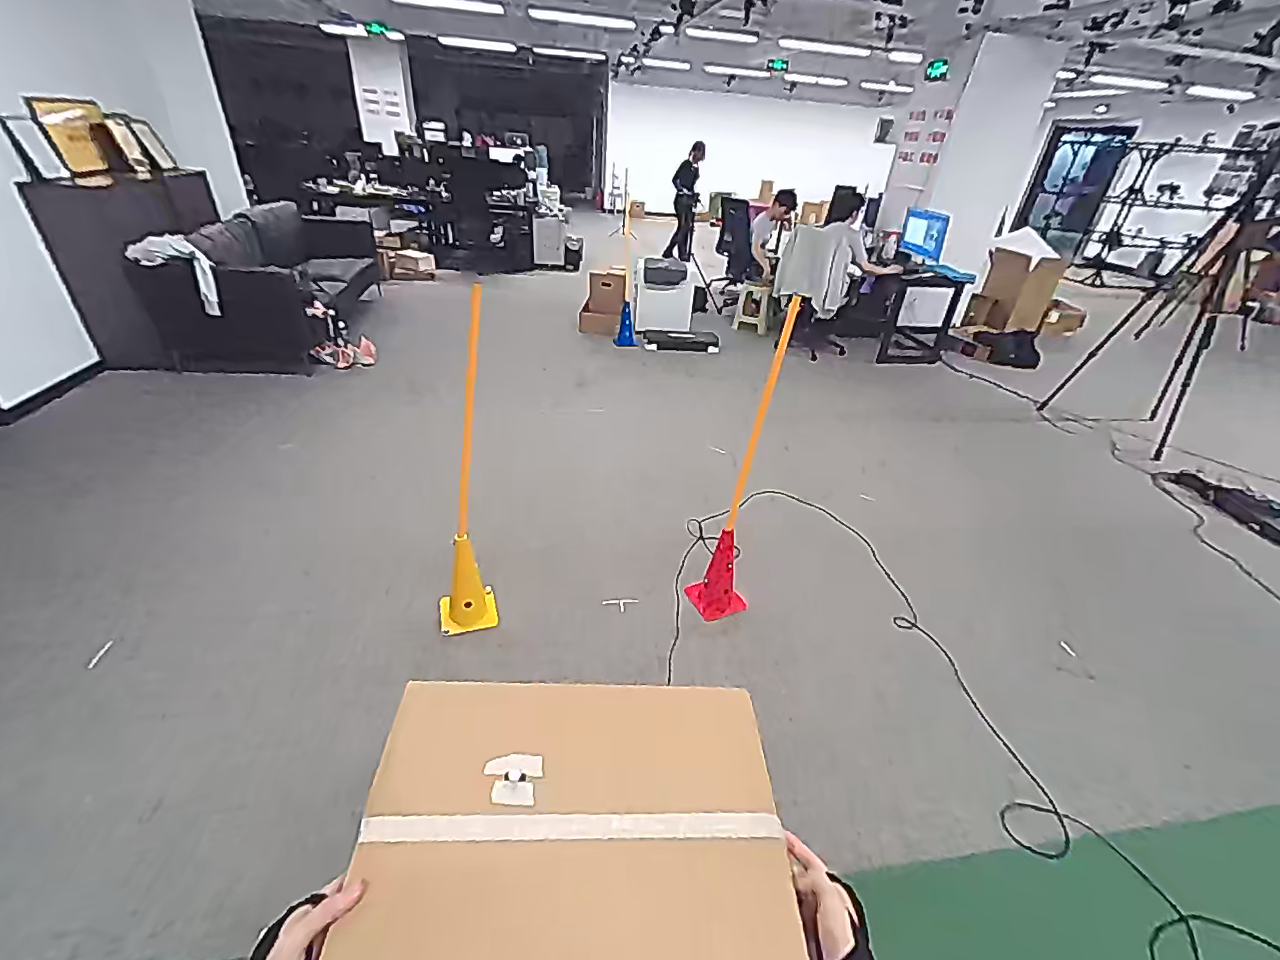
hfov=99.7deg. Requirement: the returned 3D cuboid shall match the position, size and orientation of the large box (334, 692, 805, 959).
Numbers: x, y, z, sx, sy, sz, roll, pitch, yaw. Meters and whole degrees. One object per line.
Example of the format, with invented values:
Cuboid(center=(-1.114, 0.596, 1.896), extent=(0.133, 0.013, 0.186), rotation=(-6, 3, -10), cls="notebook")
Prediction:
Cuboid(center=(-0.070, 0.466, 0.619), extent=(0.408, 0.320, 0.320), rotation=(3, 36, -5), cls="large box")
